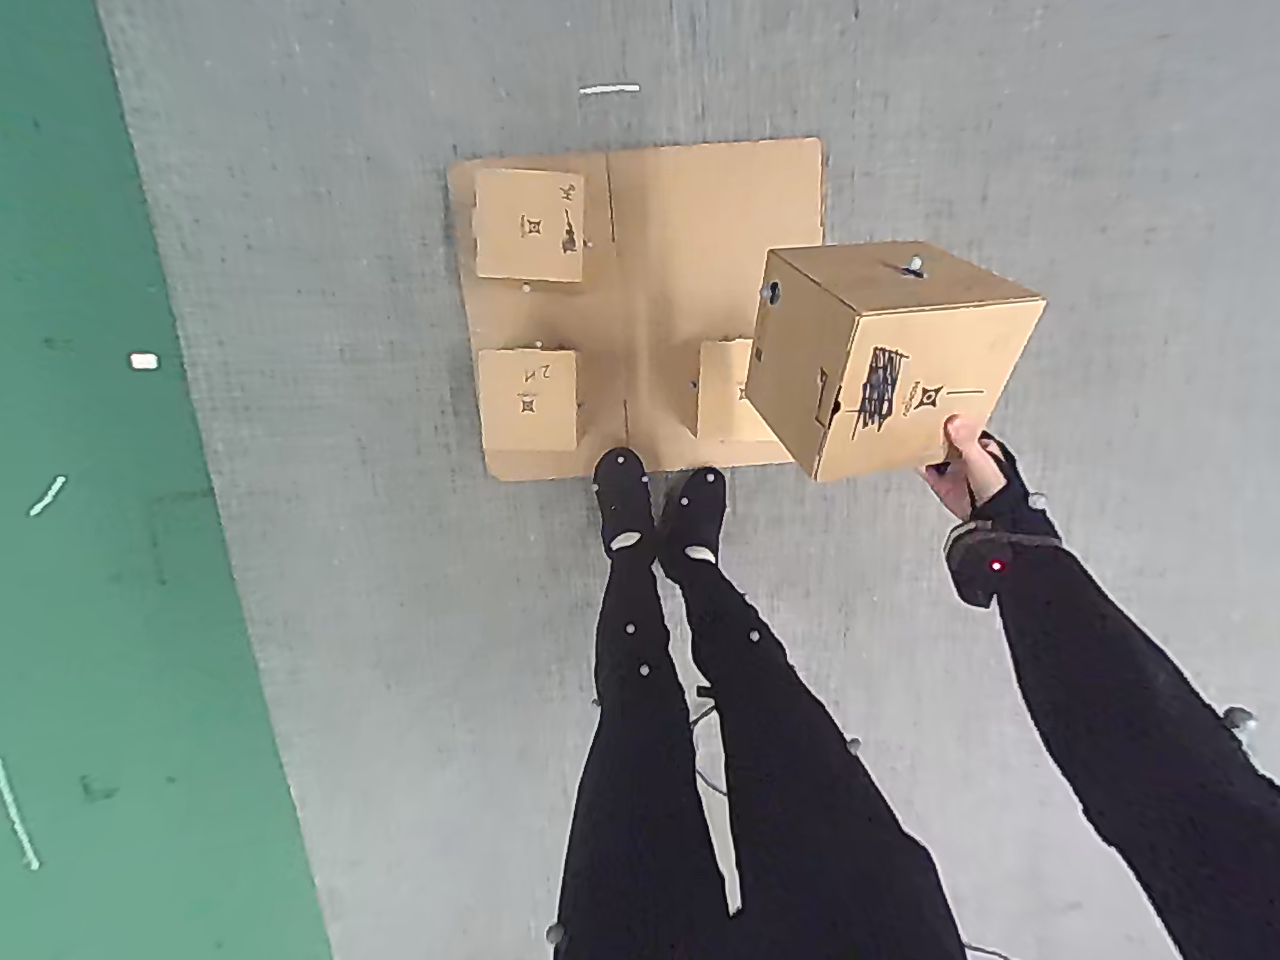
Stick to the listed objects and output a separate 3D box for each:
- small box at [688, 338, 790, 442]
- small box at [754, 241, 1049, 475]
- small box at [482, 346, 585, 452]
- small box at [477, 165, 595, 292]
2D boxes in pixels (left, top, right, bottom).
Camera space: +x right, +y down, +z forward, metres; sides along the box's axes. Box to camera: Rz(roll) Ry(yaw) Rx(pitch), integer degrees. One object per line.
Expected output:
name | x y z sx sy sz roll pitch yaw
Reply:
small box | 0.182 -0.170 1.006 0.168 0.176 0.179 0 102 -2
small box | 0.230 -0.127 0.534 0.179 0.176 0.168 -8 130 -12
small box | -0.189 -0.155 1.001 0.168 0.176 0.179 1 102 -3
small box | -0.174 -0.425 0.940 0.179 0.176 0.168 3 103 -2
